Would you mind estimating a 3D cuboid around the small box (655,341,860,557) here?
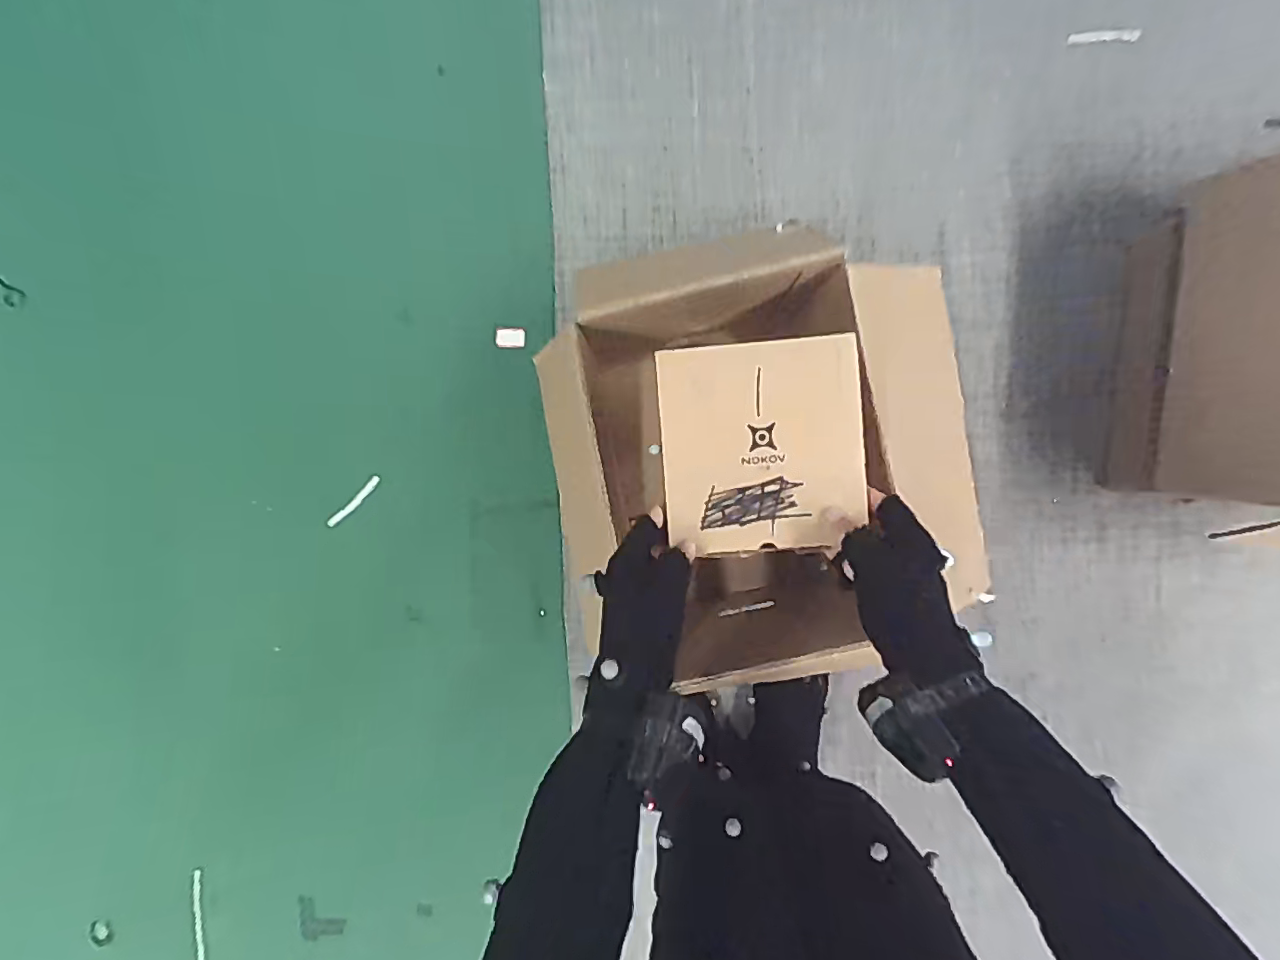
[{"bbox_3d":[0.107,-0.028,0.537,0.168,0.176,0.179,-4,91,5],"label":"small box"}]
